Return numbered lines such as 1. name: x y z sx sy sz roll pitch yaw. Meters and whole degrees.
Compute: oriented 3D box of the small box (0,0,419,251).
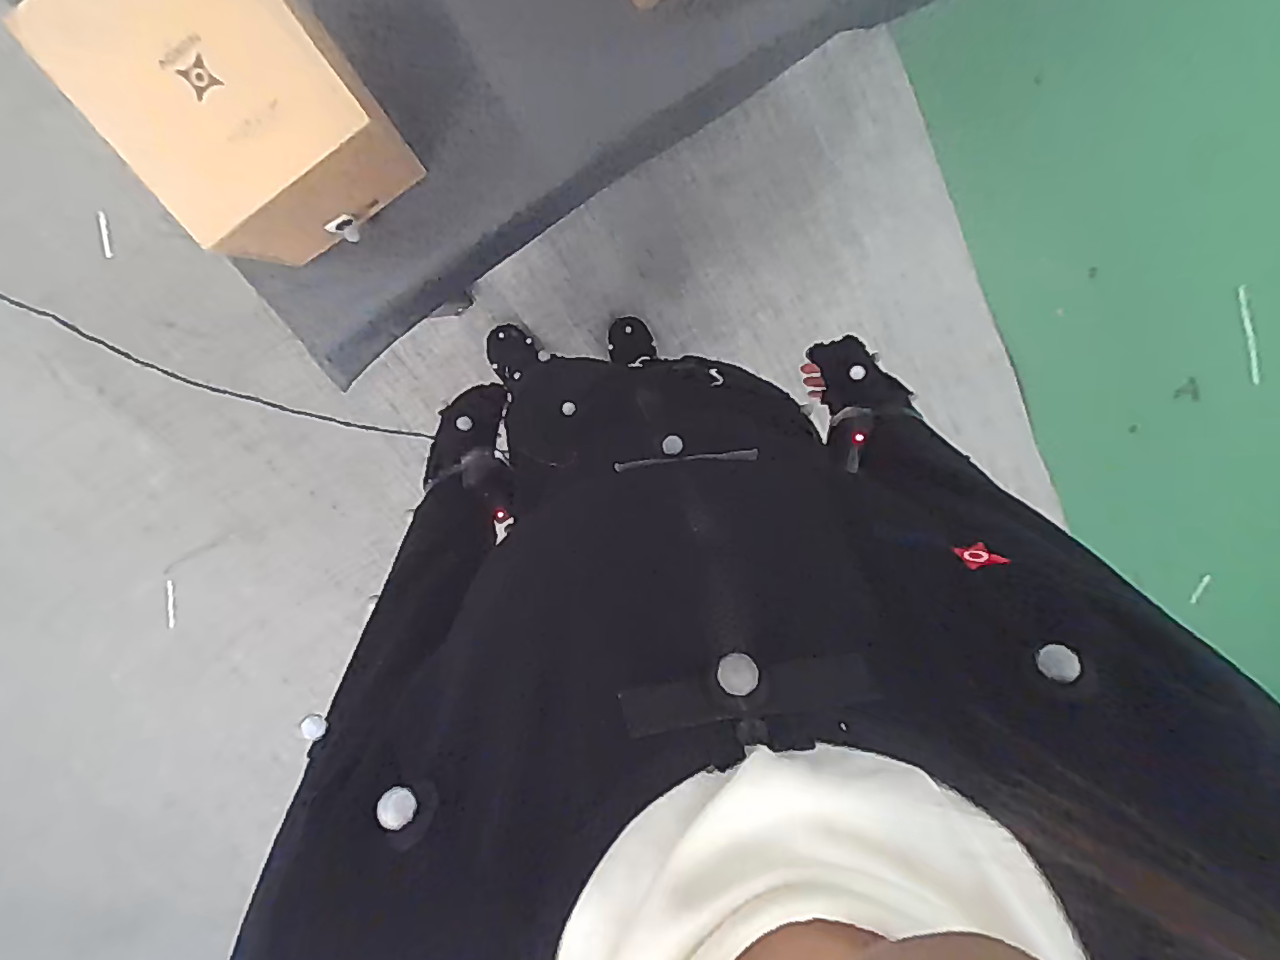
1. small box: -0.317 -0.310 0.437 0.168 0.176 0.179 -32 108 6
